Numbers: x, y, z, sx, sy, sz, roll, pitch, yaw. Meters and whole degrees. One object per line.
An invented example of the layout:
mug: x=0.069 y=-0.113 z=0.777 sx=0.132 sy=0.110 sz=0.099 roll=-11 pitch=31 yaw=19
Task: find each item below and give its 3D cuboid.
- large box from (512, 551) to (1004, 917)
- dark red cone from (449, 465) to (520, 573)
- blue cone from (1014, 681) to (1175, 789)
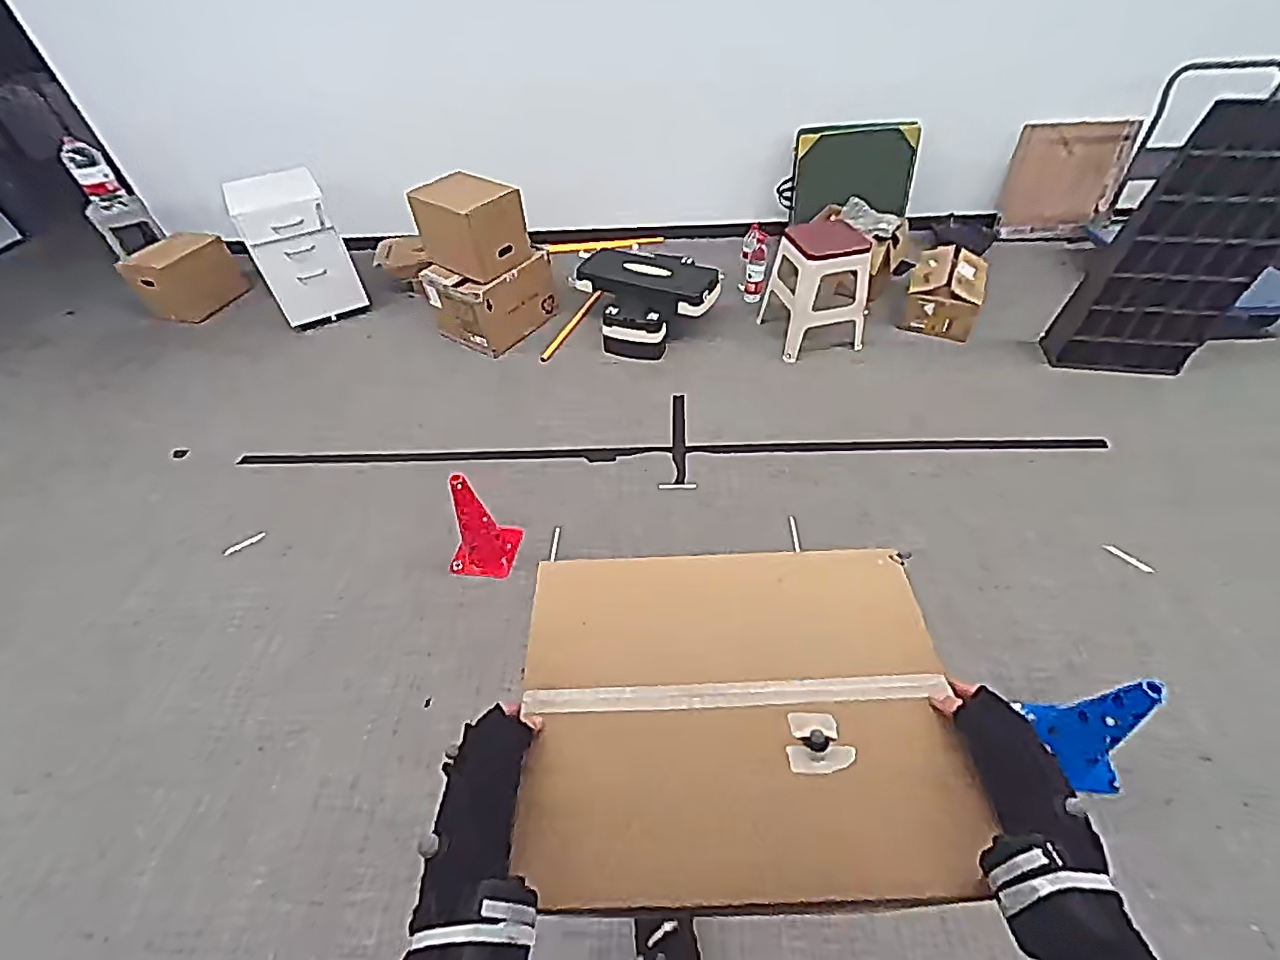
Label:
large box: x=0.093 y=0.303 z=0.637 sx=0.408 sy=0.320 sz=0.320 roll=-2 pitch=50 yaw=1
dark red cone: x=-0.513 y=0.107 z=1.661 sx=0.201 sy=0.394 sz=0.202 roll=4 pitch=48 yaw=6
blue cone: x=1.035 y=0.540 z=1.207 sx=0.192 sy=0.380 sz=0.193 roll=3 pitch=47 yaw=5
